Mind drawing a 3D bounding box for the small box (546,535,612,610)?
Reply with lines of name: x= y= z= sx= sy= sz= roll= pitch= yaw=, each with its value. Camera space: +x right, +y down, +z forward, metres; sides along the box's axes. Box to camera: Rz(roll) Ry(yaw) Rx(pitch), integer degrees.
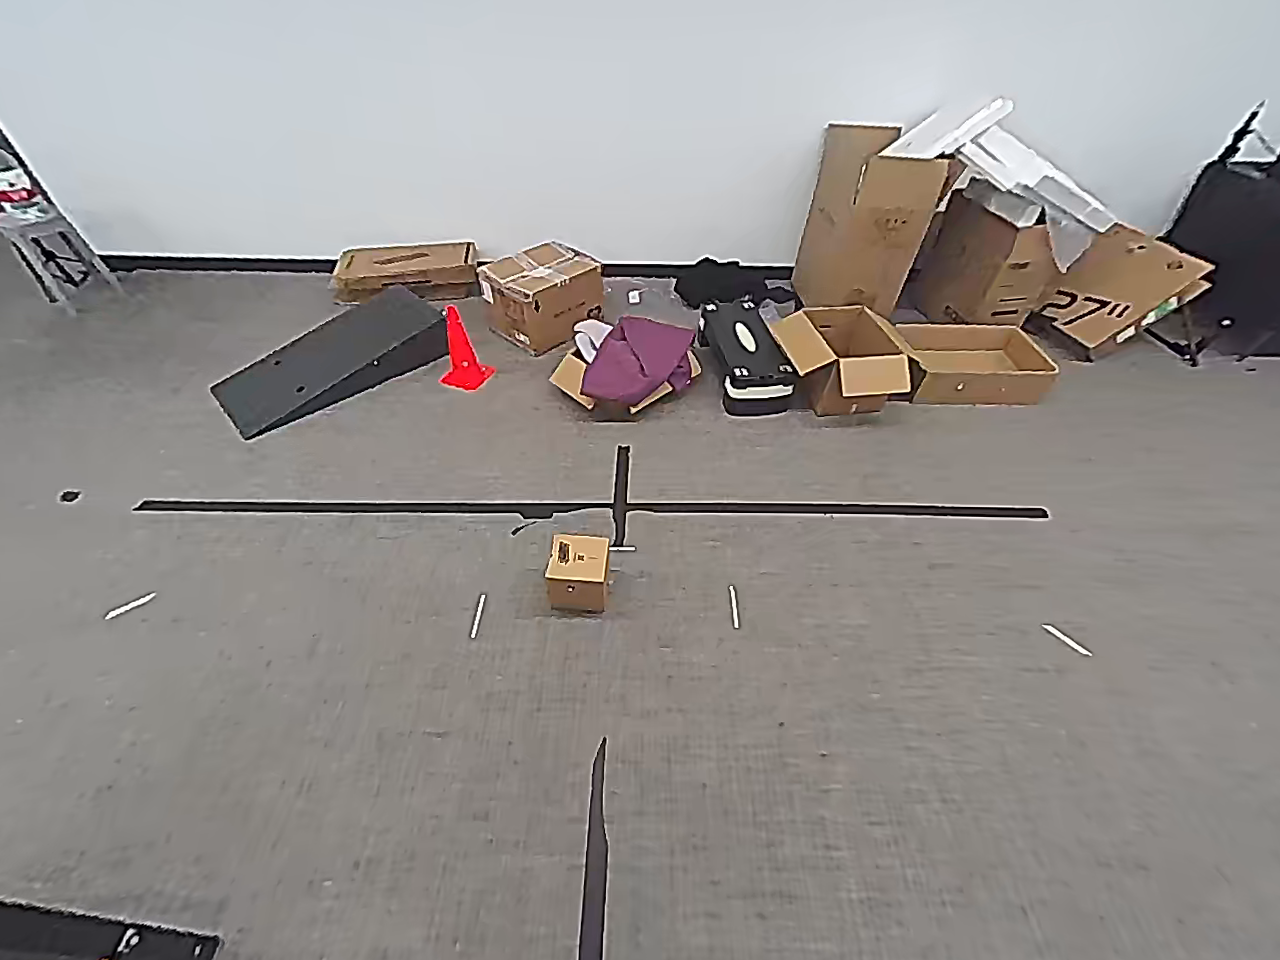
small box: x=-0.184 y=0.292 z=1.693 sx=0.179 sy=0.176 sz=0.168 roll=4 pitch=46 yaw=2
